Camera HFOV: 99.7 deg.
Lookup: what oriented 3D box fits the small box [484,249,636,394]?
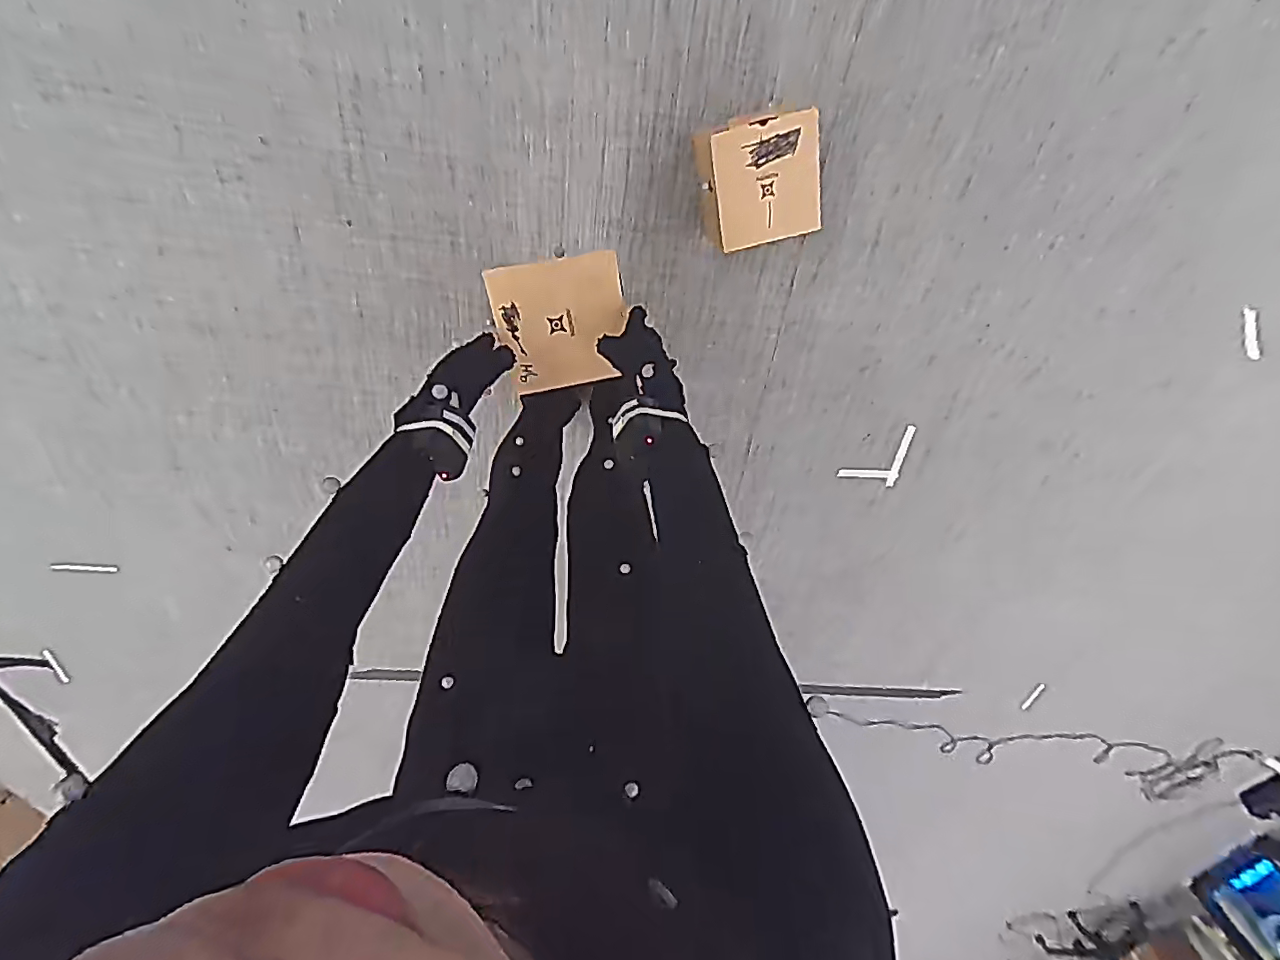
[{"bbox_3d":[-0.115,-0.235,0.781,0.179,0.176,0.168,-12,113,-6],"label":"small box"}]

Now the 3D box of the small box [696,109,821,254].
[{"bbox_3d":[0.195,-0.502,0.911,0.168,0.176,0.179,-12,124,4],"label":"small box"}]
